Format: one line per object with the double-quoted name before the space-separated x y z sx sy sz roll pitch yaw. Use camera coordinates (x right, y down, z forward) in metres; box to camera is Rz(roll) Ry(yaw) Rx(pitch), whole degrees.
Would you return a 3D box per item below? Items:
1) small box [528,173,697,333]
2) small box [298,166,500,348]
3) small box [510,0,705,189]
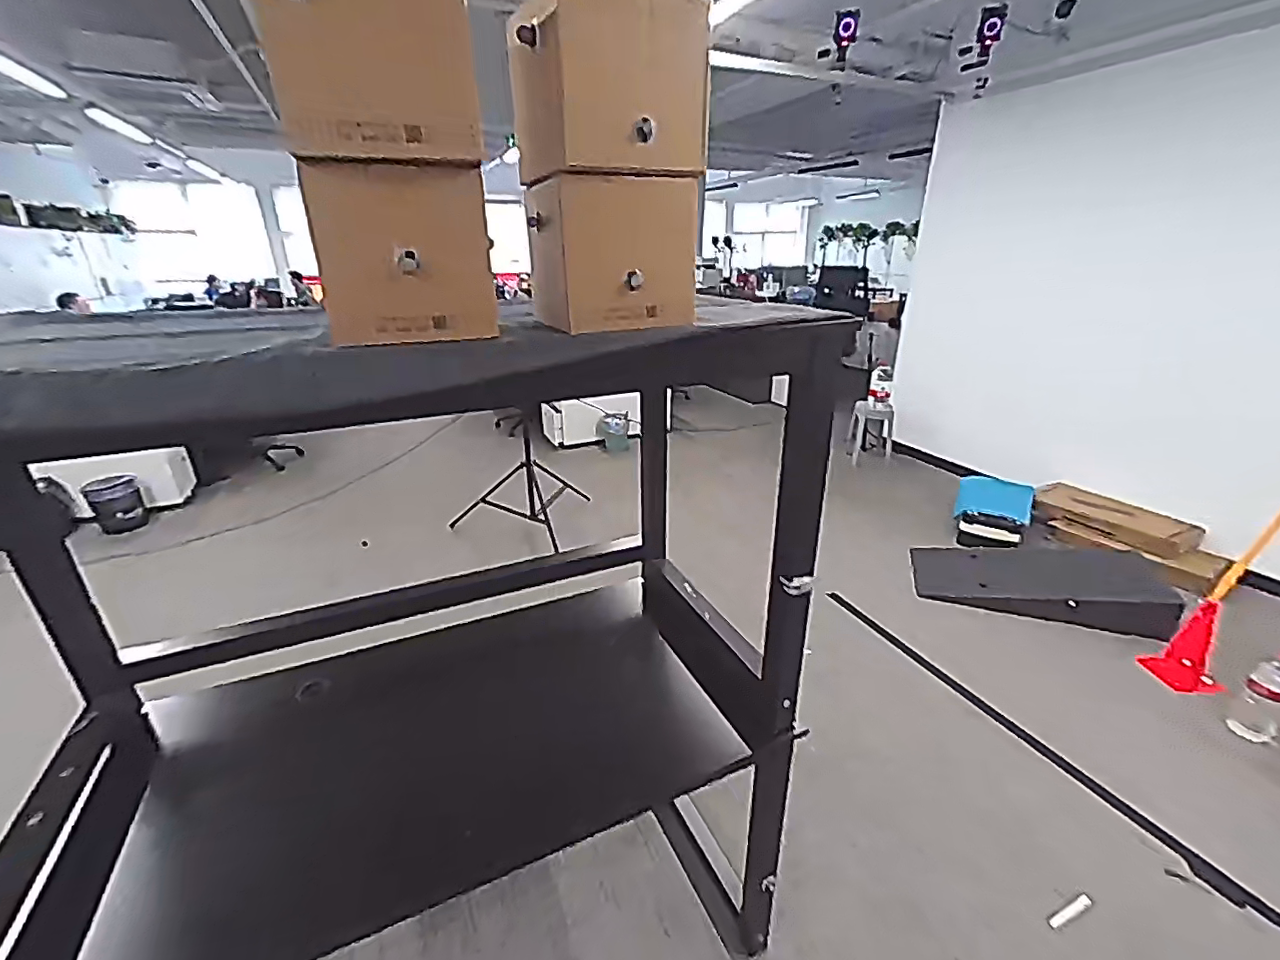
"small box" -0.040 -0.284 0.694 0.168 0.176 0.179 -11 24 -21
"small box" -0.258 -0.244 0.610 0.168 0.176 0.179 -9 23 -20
"small box" -0.037 -0.434 0.620 0.179 0.176 0.168 -11 24 -26
